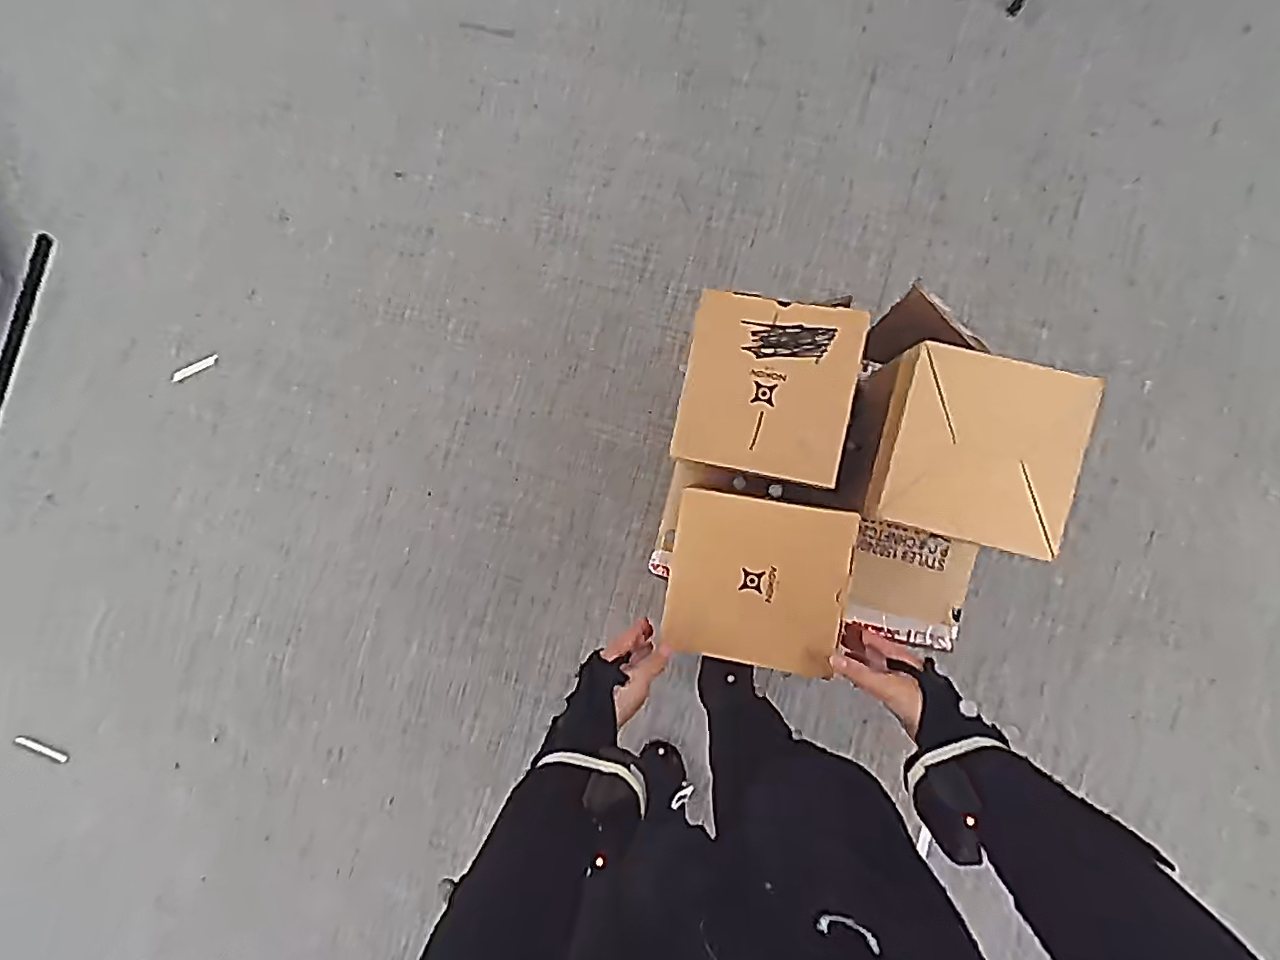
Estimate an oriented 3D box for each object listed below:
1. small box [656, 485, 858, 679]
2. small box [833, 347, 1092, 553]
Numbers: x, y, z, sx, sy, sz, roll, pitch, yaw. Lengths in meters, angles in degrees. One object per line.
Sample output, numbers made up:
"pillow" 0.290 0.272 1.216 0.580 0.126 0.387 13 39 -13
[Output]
"small box" 0.124 0.100 0.614 0.179 0.176 0.168 9 92 7
"small box" 0.330 -0.025 0.585 0.168 0.176 0.179 14 91 4
